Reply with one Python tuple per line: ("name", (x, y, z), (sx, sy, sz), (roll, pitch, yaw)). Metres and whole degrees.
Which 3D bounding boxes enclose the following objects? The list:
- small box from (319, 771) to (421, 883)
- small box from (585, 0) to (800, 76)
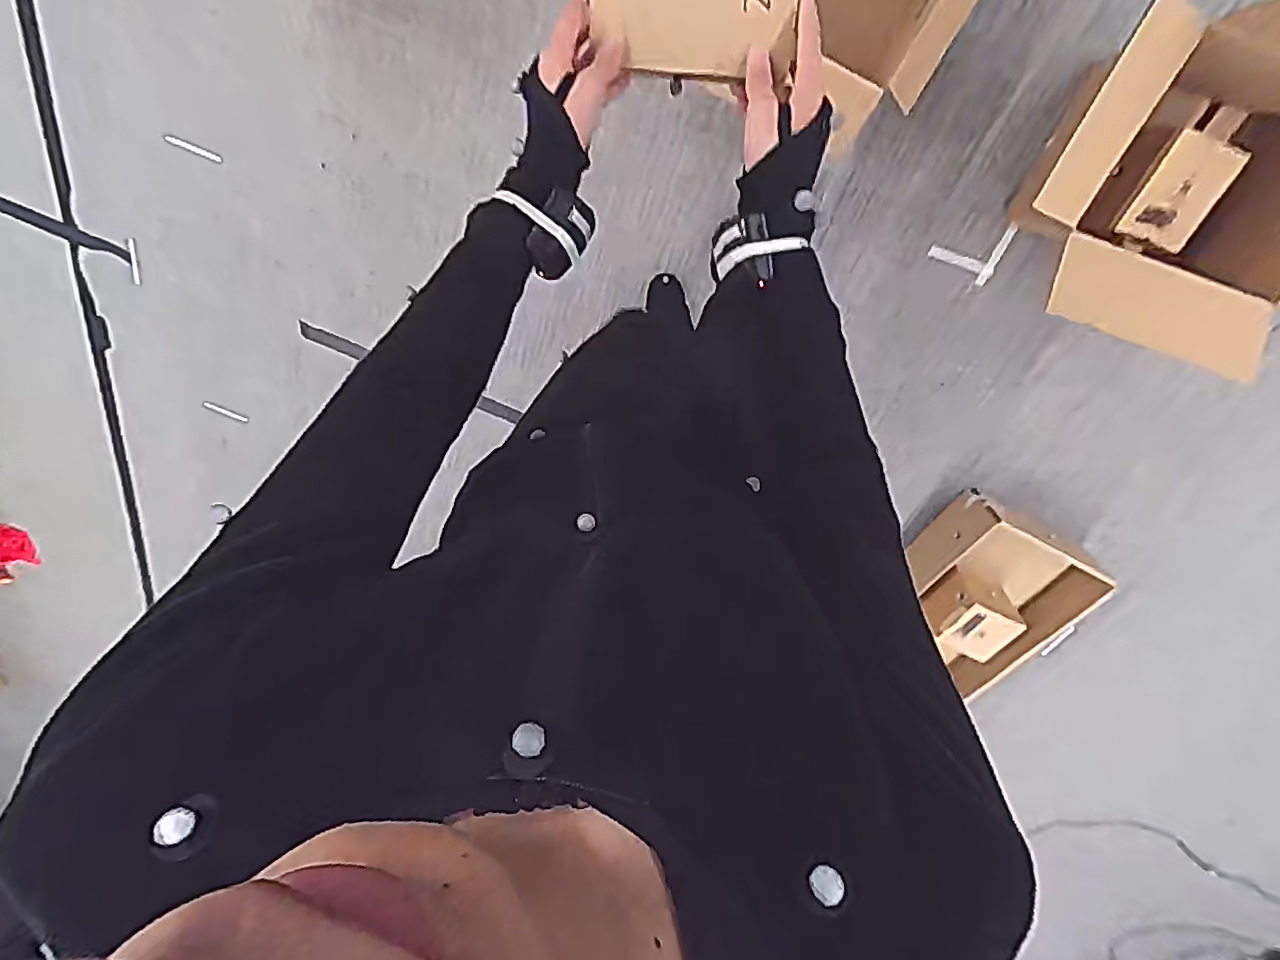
("small box", (-0.696, 0.896, 1.407), (0.168, 0.176, 0.179), (27, 121, -5))
("small box", (0.052, -0.469, 0.479), (0.179, 0.176, 0.168), (5, 125, 2))
